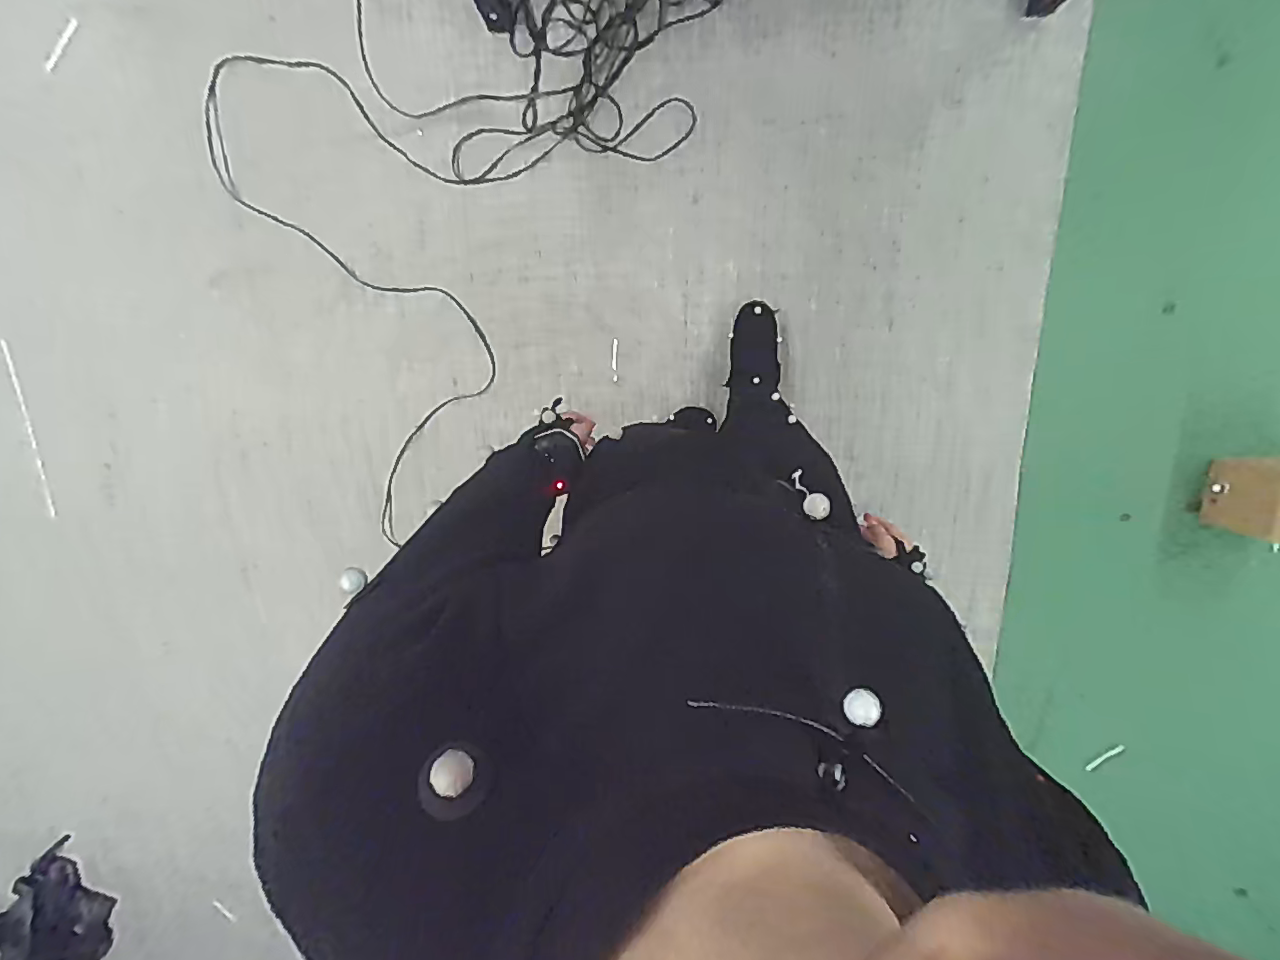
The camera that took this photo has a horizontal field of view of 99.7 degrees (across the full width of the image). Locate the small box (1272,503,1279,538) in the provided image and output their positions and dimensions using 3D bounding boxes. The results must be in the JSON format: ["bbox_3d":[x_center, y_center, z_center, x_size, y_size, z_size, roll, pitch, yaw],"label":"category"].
[{"bbox_3d":[1.451,0.059,1.081,0.179,0.176,0.168,-2,102,2],"label":"small box"}]

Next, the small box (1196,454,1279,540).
[{"bbox_3d":[1.460,0.033,1.242,0.179,0.176,0.168,-1,102,3],"label":"small box"}]
